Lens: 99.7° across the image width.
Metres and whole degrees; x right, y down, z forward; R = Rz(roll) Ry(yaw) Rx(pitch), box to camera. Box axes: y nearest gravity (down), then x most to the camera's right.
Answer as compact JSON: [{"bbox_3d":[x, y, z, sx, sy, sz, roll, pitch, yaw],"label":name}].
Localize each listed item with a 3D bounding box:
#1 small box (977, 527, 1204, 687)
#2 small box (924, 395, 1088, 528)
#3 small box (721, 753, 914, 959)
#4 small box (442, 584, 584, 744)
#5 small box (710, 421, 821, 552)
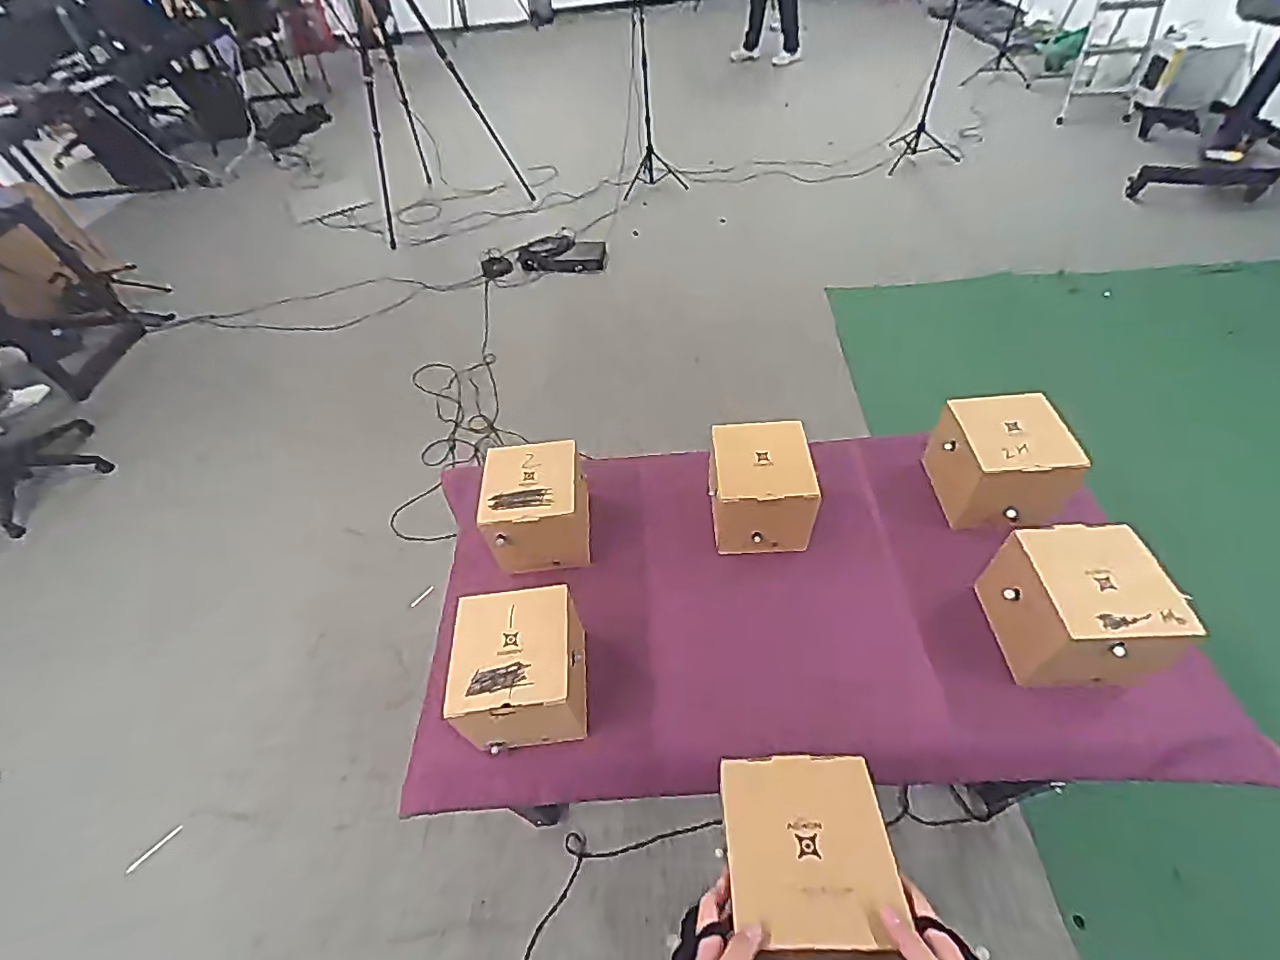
[{"bbox_3d":[0.640,0.190,0.803,0.168,0.176,0.179,-3,49,4],"label":"small box"},{"bbox_3d":[0.645,-0.031,0.983,0.168,0.176,0.179,-4,51,6],"label":"small box"},{"bbox_3d":[0.177,0.432,0.603,0.168,0.176,0.179,-4,37,6],"label":"small box"},{"bbox_3d":[-0.176,0.281,0.808,0.168,0.176,0.179,-6,49,0],"label":"small box"},{"bbox_3d":[0.218,0.014,0.994,0.168,0.176,0.179,-3,52,3],"label":"small box"}]
